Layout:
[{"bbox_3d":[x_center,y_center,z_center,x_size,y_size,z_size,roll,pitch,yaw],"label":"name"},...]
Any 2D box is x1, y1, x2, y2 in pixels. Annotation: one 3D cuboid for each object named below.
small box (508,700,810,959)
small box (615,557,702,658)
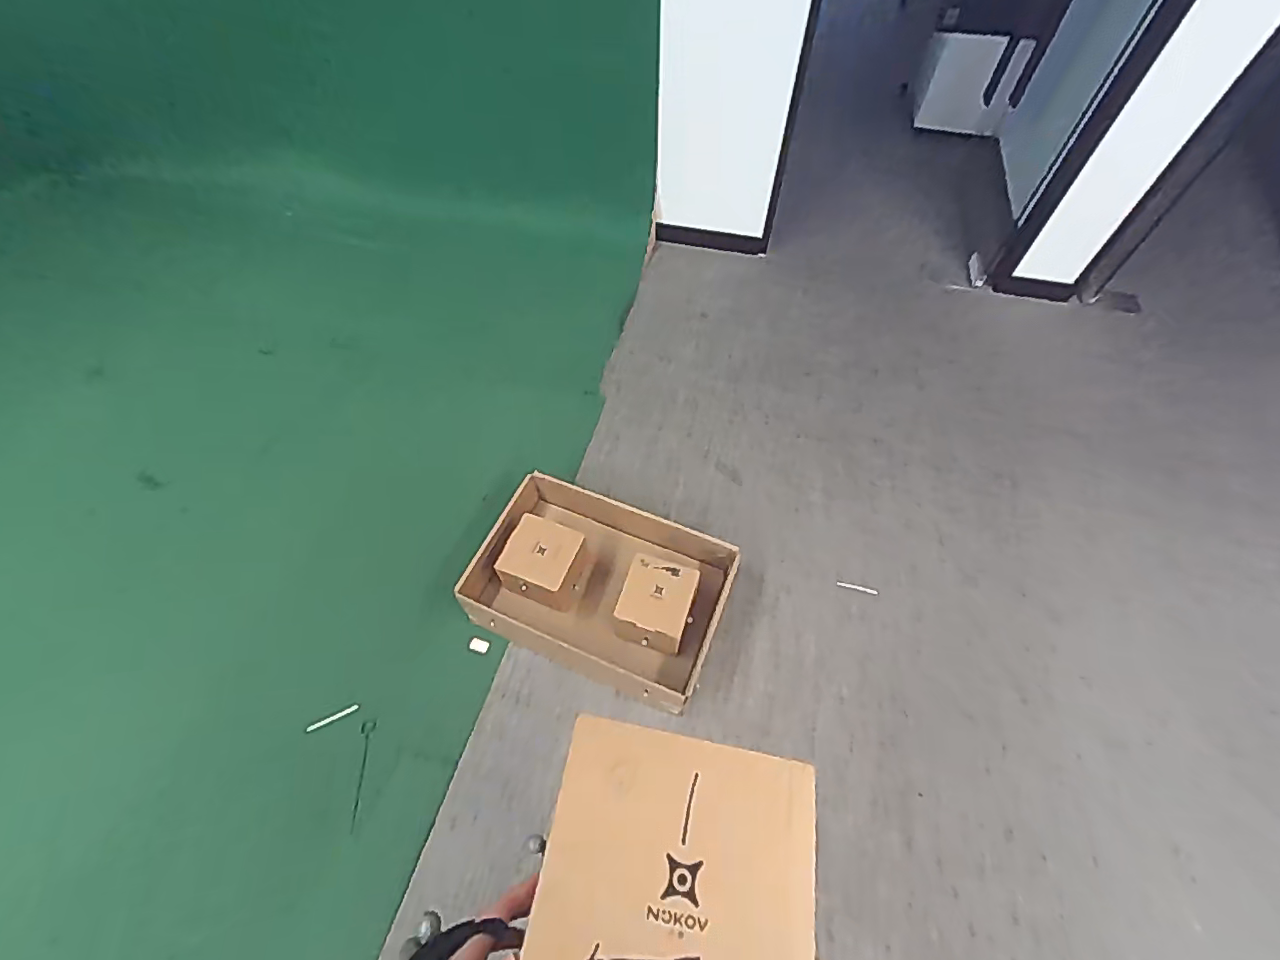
[{"bbox_3d":[0.011,0.281,0.386,0.168,0.176,0.179,12,56,1],"label":"small box"},{"bbox_3d":[0.050,0.321,1.340,0.168,0.176,0.179,16,60,11],"label":"small box"}]
